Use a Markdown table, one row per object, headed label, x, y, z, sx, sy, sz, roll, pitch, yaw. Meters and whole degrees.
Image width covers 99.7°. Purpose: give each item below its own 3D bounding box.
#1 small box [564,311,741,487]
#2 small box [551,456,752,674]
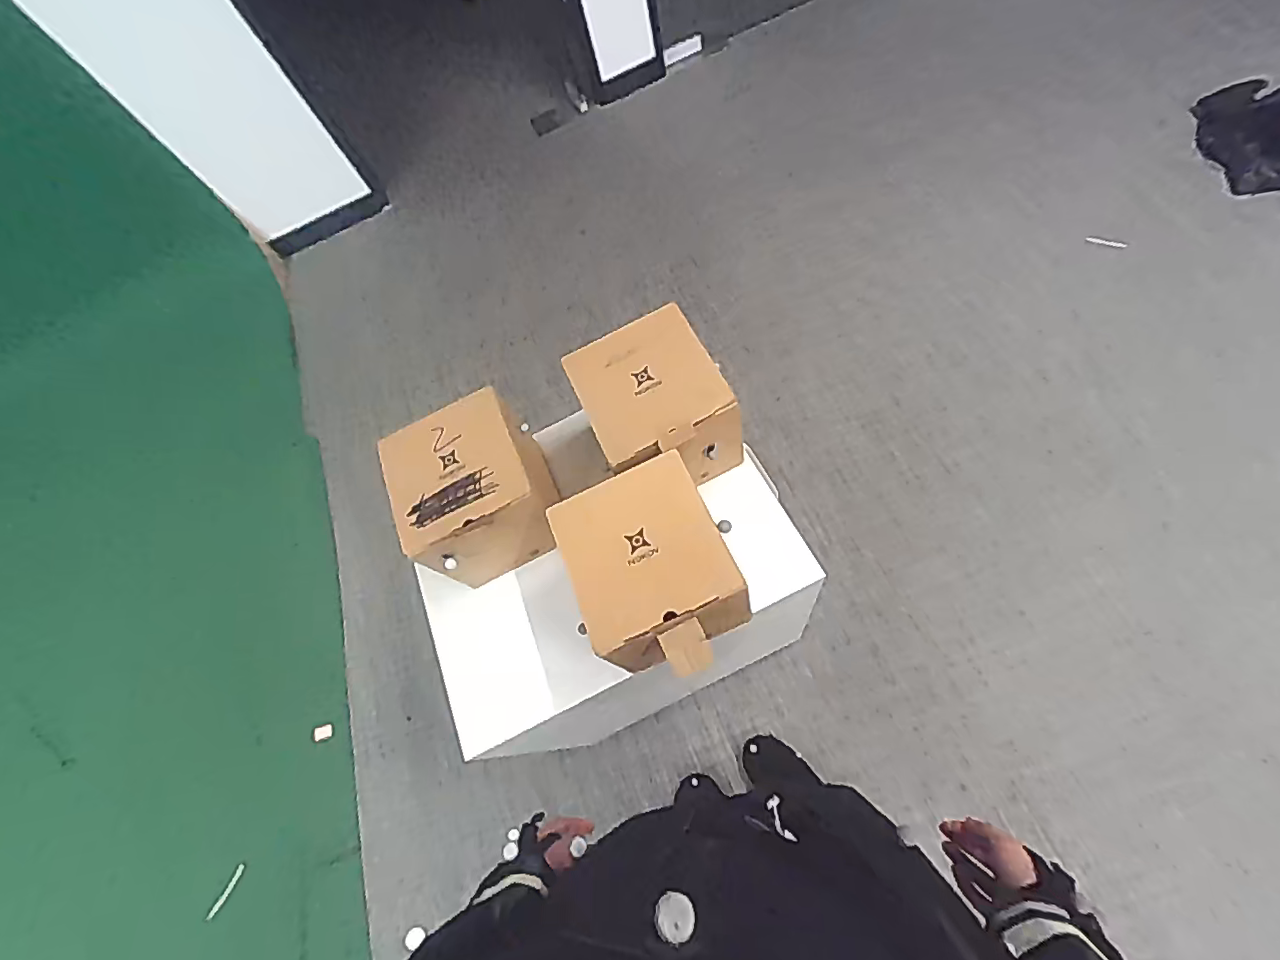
| label | x | y | z | sx | sy | sz | roll | pitch | yaw |
| --- | --- | --- | --- | --- | --- | --- | --- | --- | --- |
| small box | 0.024 | -0.080 | 0.719 | 0.168 | 0.176 | 0.179 | -27 | 62 | -1 |
| small box | 0.019 | 0.107 | 0.635 | 0.168 | 0.176 | 0.179 | -26 | 62 | 0 |
